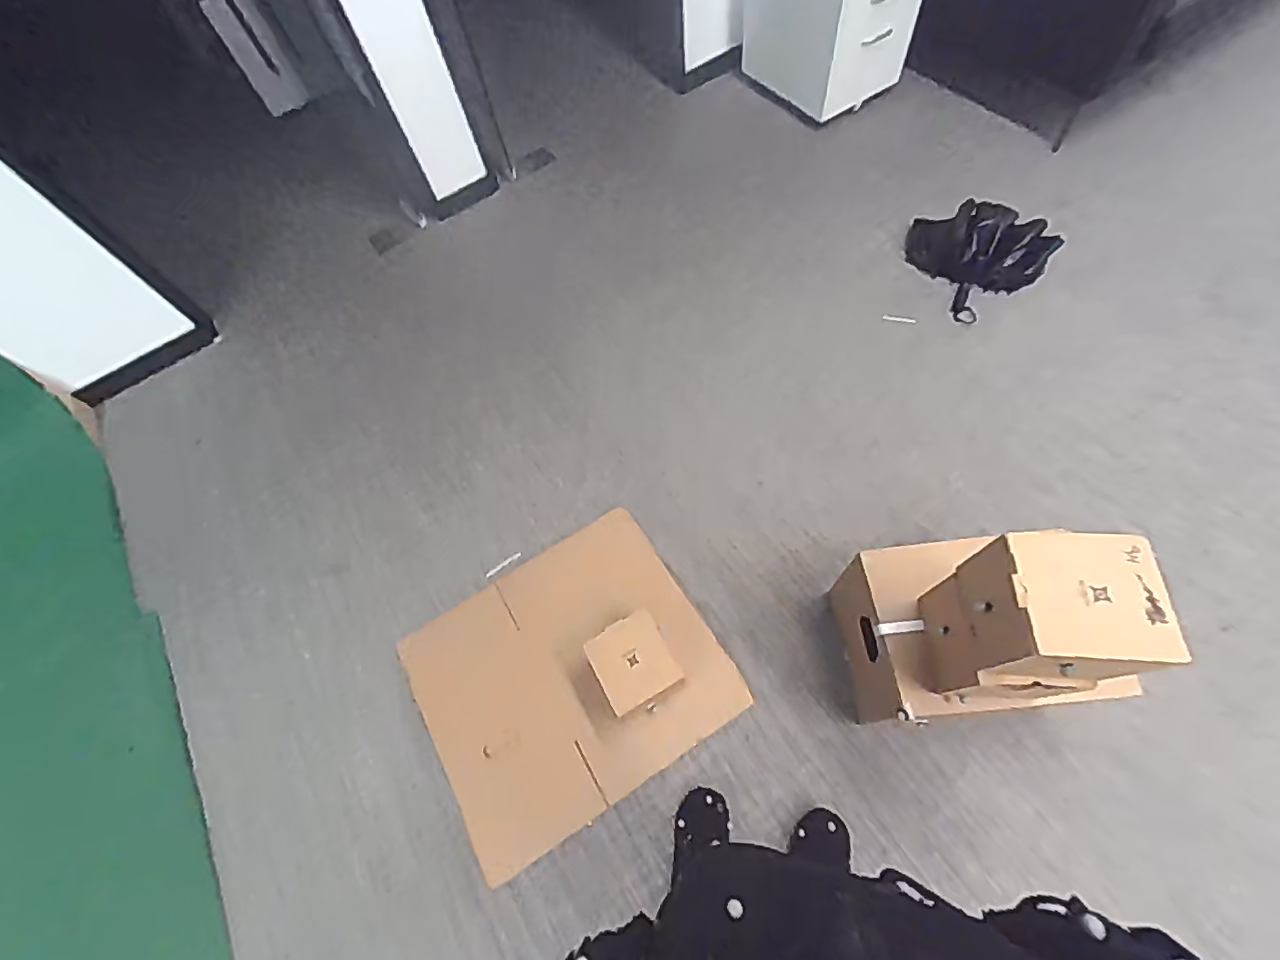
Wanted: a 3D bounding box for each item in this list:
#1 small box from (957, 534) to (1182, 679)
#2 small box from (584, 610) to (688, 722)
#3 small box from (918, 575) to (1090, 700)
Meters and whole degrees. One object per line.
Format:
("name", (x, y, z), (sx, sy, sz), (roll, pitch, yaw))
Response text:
("small box", (0.580, 0.184, 0.768), (0.179, 0.176, 0.168), (-1, 61, 5))
("small box", (-0.005, 0.428, 1.229), (0.168, 0.176, 0.179), (-30, 64, -7))
("small box", (0.590, 0.268, 0.905), (0.168, 0.176, 0.179), (0, 63, 7))
